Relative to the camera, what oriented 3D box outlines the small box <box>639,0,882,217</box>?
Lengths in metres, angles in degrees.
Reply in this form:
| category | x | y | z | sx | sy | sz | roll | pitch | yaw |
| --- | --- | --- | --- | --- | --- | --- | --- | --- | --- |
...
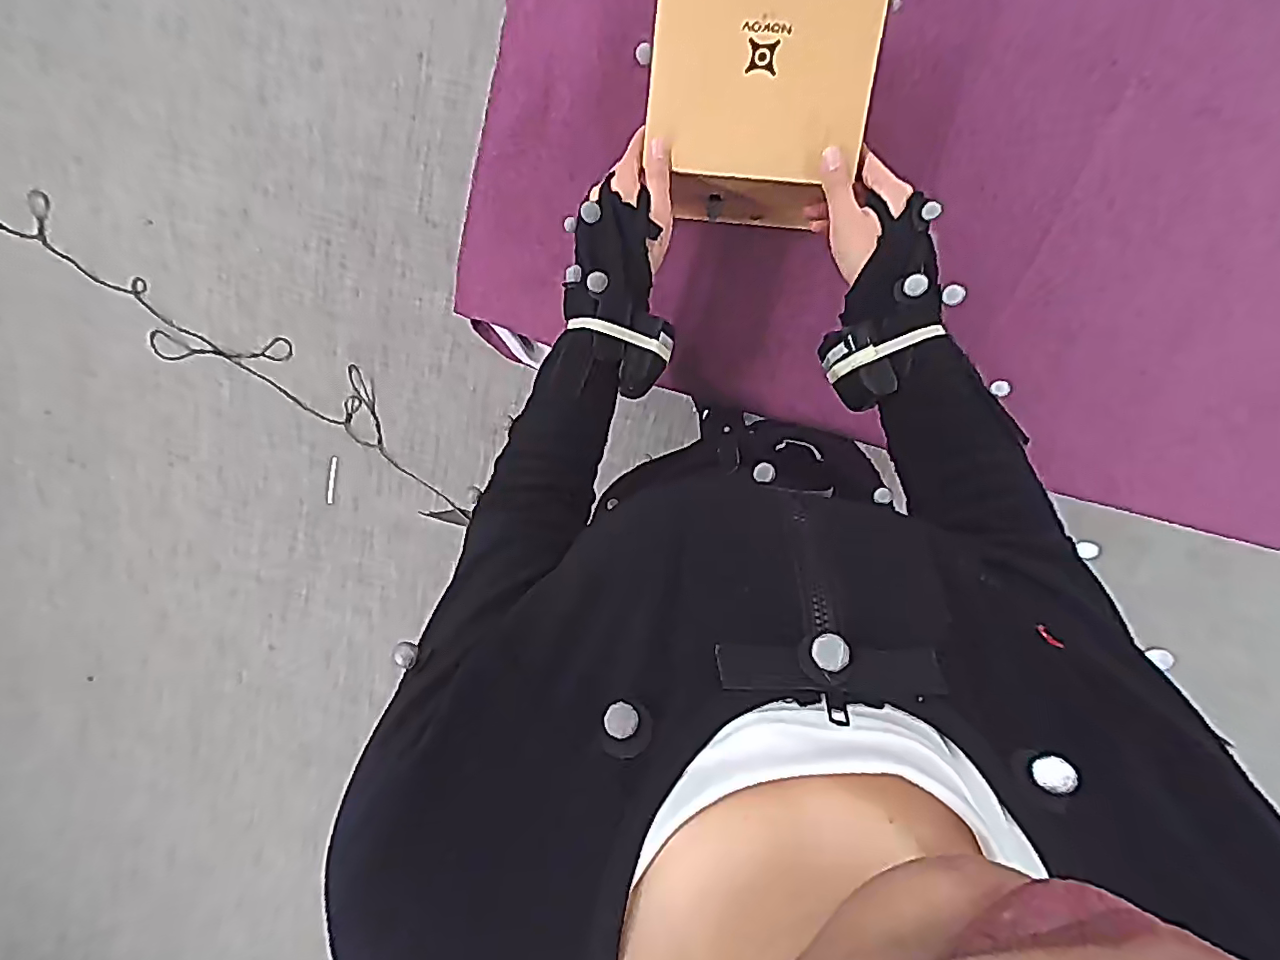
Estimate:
| category | x | y | z | sx | sy | sz | roll | pitch | yaw |
| --- | --- | --- | --- | --- | --- | --- | --- | --- | --- |
| small box | 0.098 | -0.343 | 0.470 | 0.168 | 0.176 | 0.179 | 7 | 104 | 5 |
